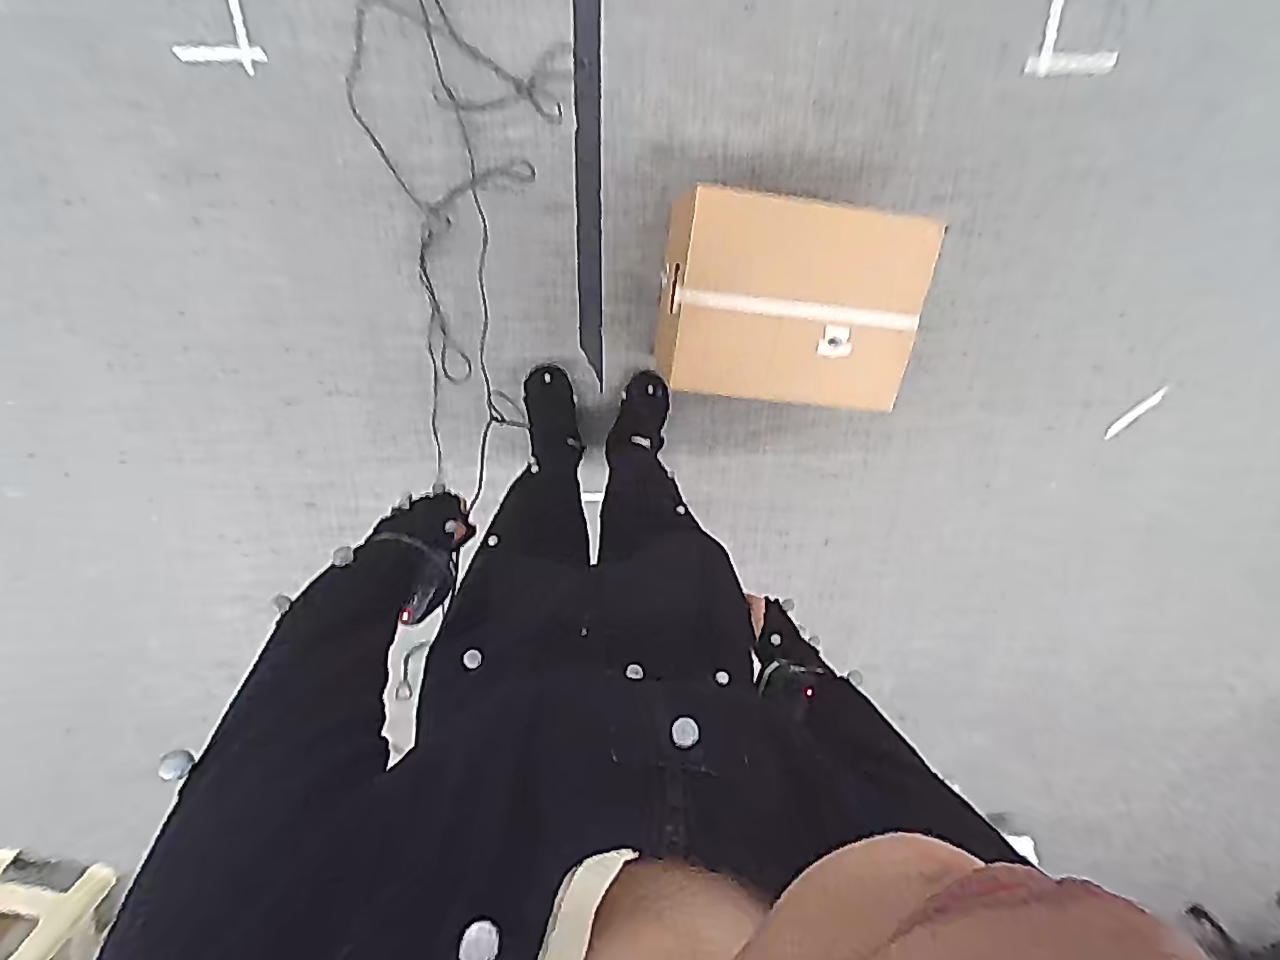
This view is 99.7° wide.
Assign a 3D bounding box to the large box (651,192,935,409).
[{"bbox_3d":[0.246,-0.336,1.030,0.408,0.320,0.320,5,112,-7],"label":"large box"}]
